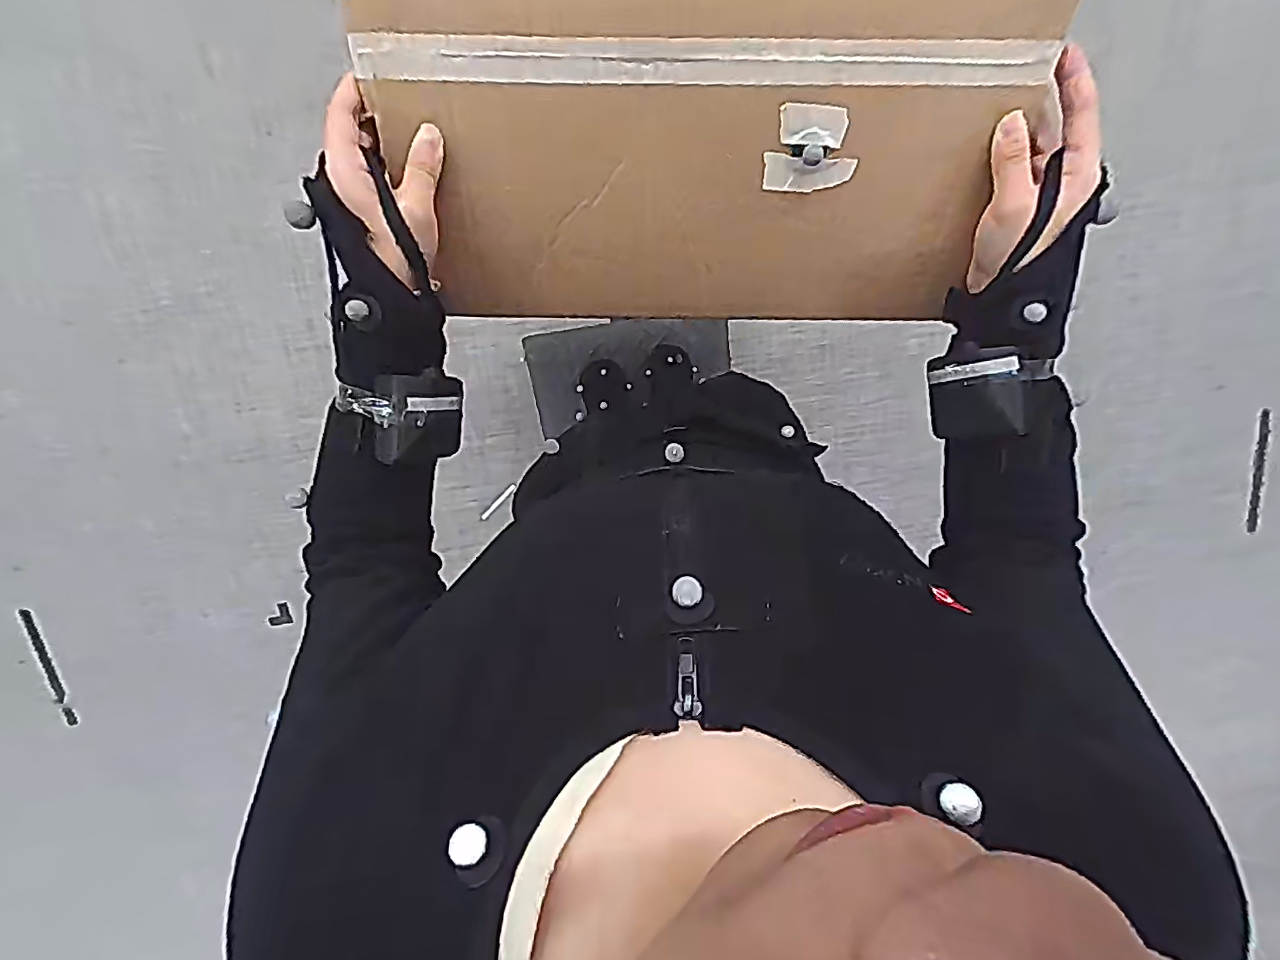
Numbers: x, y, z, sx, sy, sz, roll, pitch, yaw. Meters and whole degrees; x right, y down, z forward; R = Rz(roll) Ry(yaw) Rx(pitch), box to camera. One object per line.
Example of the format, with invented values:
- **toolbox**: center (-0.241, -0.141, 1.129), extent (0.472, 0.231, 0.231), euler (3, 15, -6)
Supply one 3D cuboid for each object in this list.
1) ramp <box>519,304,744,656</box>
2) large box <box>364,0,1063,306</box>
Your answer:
- **ramp**: center (0.023, 0.065, 1.477), extent (0.509, 0.206, 0.991), euler (-10, 105, -1)
- **large box**: center (0.037, -0.348, 0.435), extent (0.408, 0.320, 0.320), euler (0, 130, -2)
